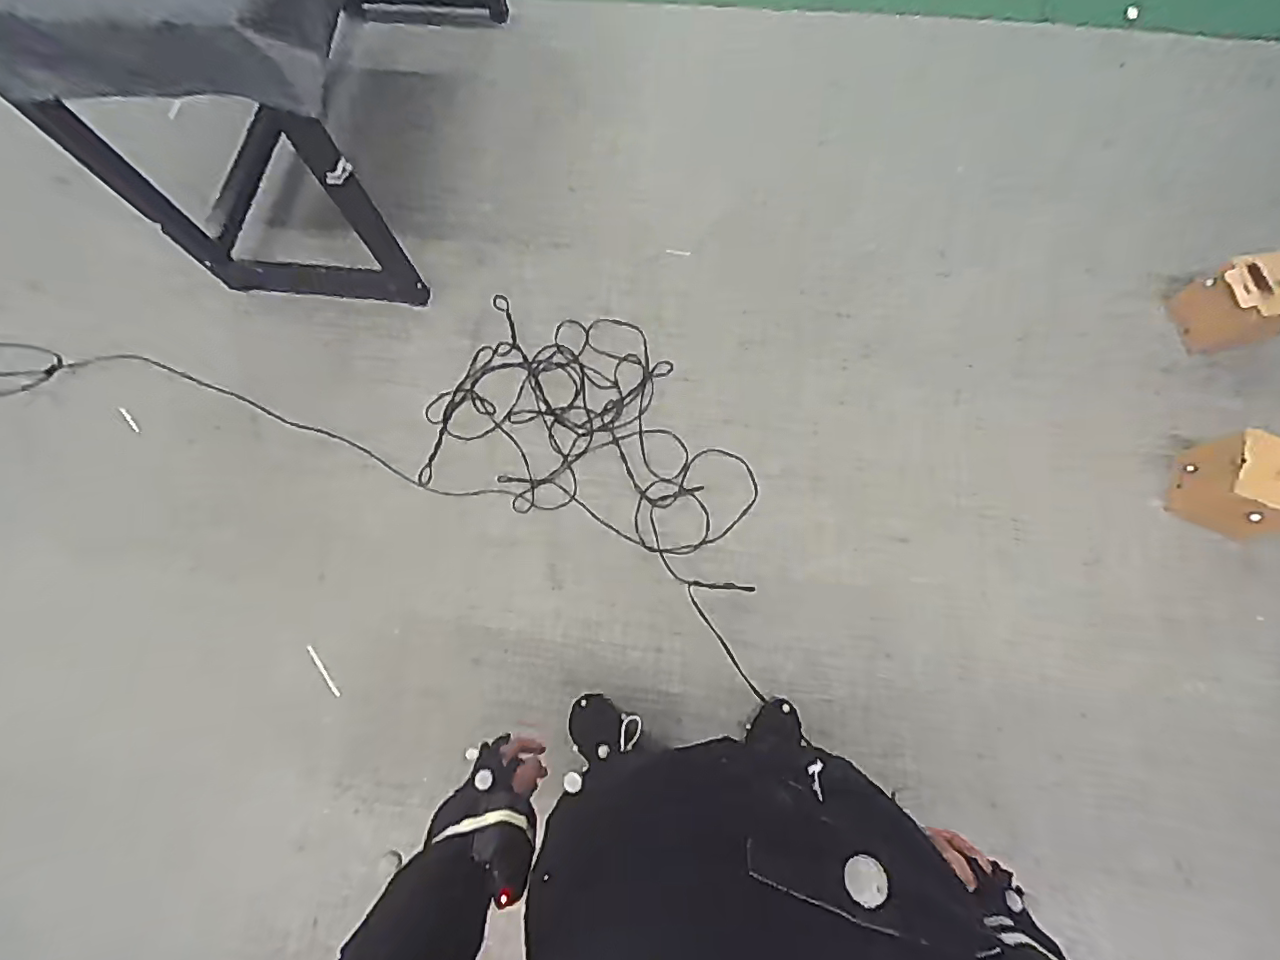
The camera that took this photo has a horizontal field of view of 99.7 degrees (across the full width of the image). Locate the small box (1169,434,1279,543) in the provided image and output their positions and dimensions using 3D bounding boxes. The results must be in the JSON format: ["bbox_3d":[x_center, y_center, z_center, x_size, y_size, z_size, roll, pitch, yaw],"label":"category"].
[{"bbox_3d":[1.347,0.028,1.193,0.179,0.176,0.168,25,75,10],"label":"small box"}]
